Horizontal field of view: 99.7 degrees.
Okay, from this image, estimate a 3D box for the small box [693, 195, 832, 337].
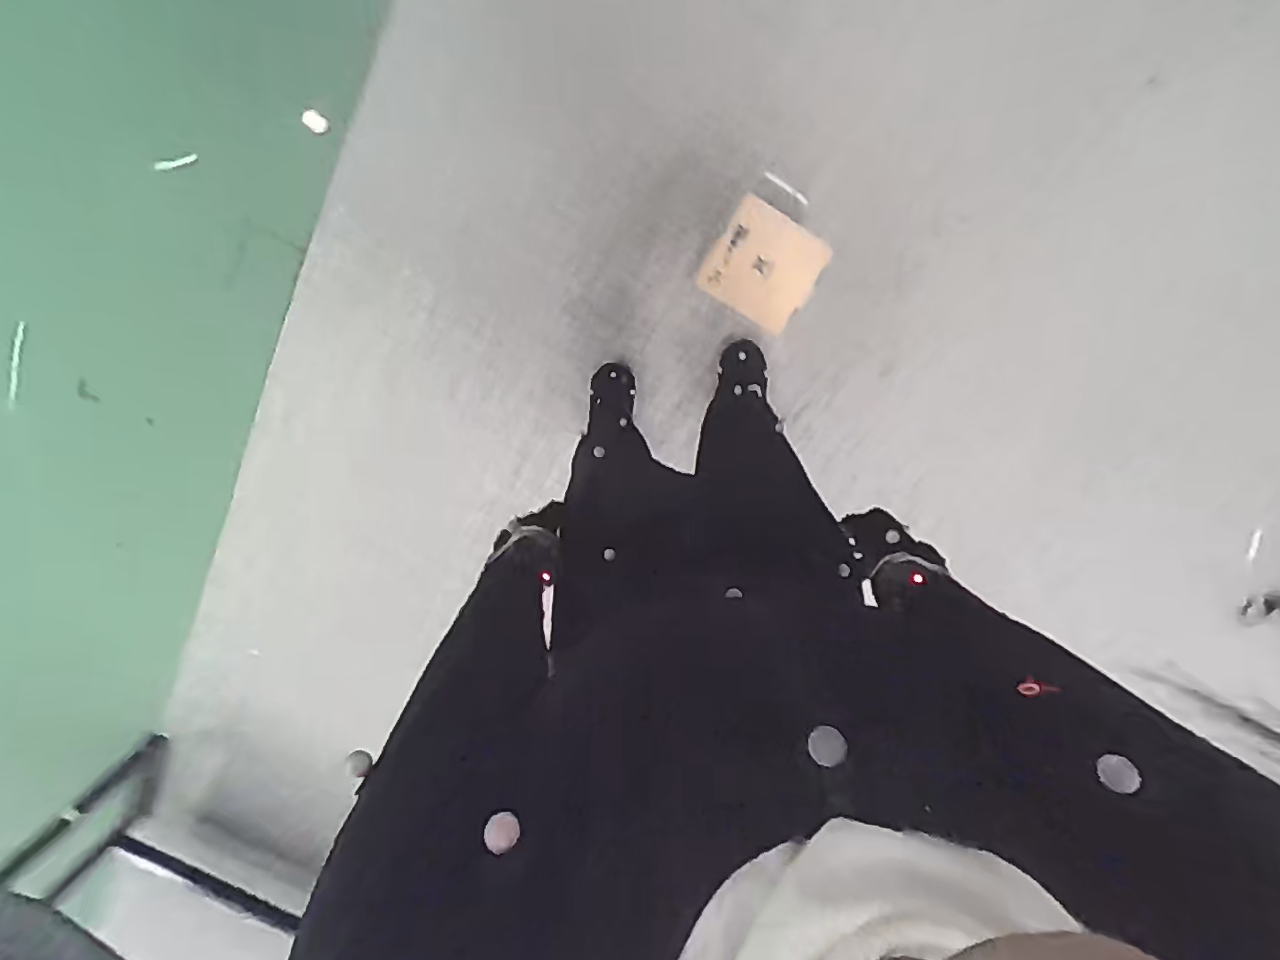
[{"bbox_3d":[0.215,-0.390,0.988,0.179,0.176,0.168,32,113,-7],"label":"small box"}]
